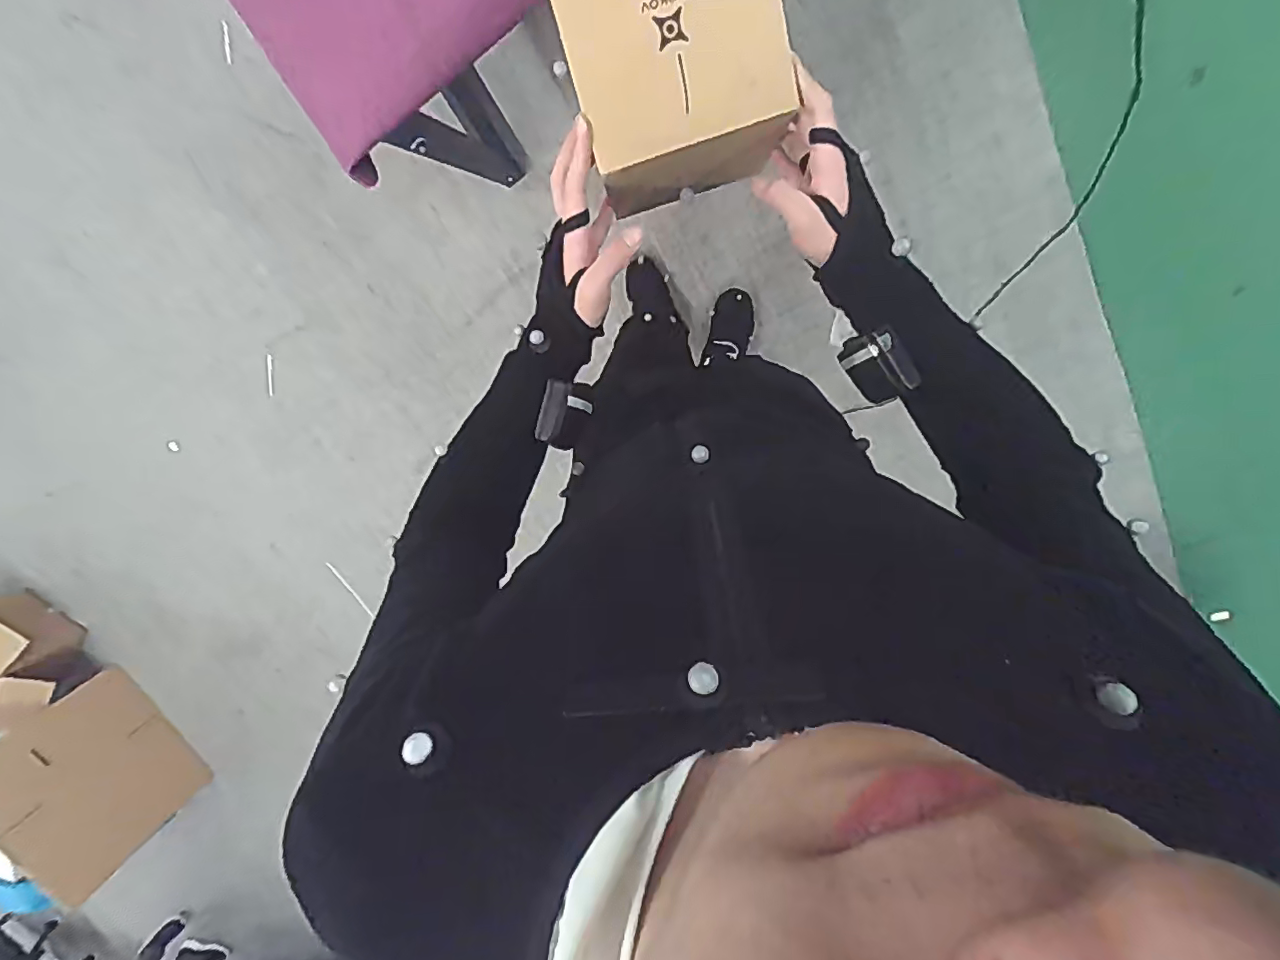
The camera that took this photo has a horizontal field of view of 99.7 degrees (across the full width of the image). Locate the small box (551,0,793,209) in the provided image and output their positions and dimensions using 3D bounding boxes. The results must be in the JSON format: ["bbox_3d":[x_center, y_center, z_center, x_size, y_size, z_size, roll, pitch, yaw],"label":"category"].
[{"bbox_3d":[0.021,-0.372,0.482,0.168,0.176,0.179,-15,104,7],"label":"small box"}]
